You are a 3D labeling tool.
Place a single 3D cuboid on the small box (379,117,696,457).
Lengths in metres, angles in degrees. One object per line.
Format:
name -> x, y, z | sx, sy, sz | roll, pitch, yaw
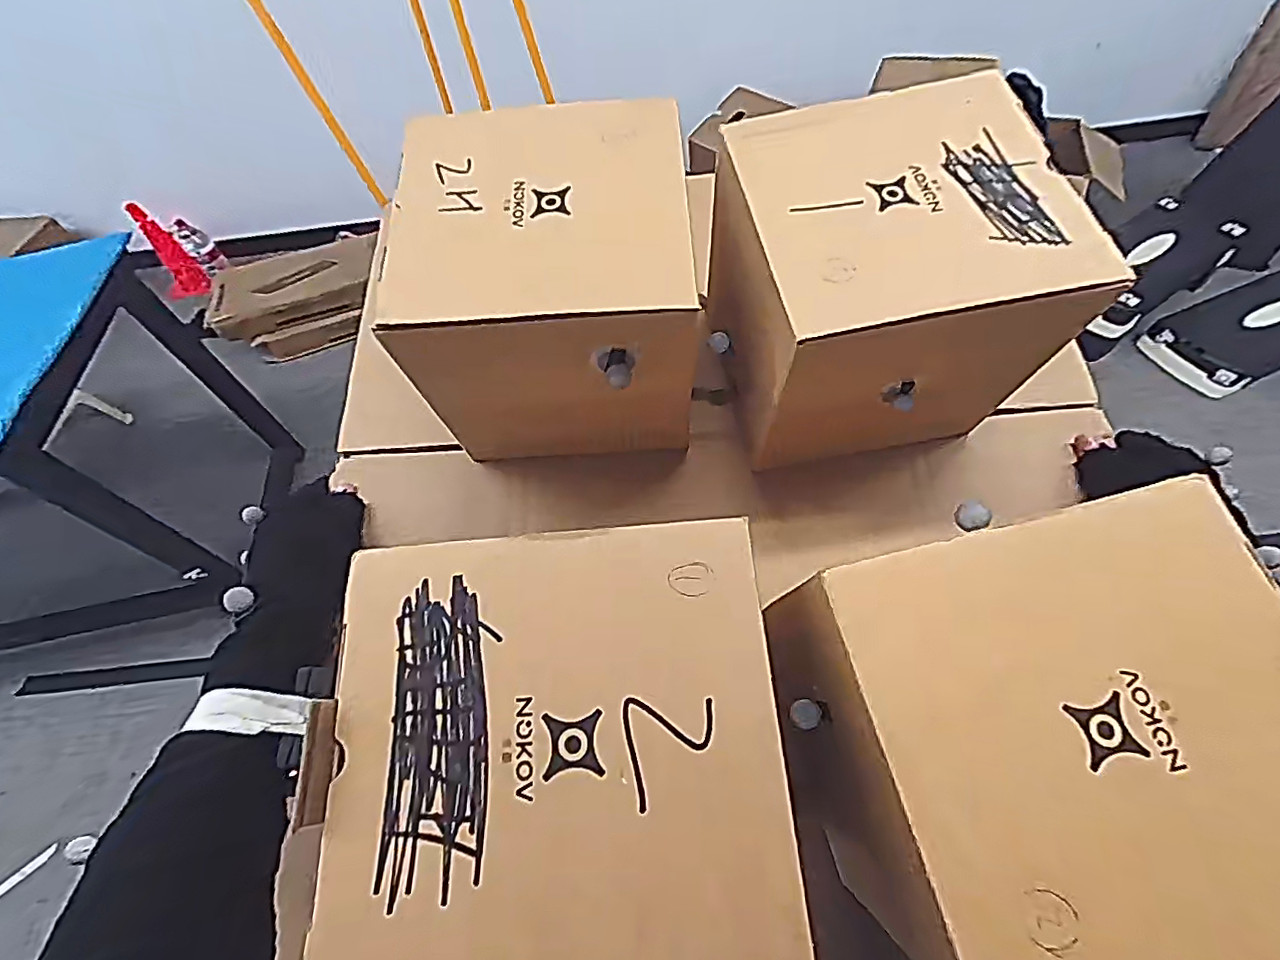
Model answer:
small box -> -0.055, -0.126, 0.397 | 0.179, 0.176, 0.168 | -2, 67, 3
